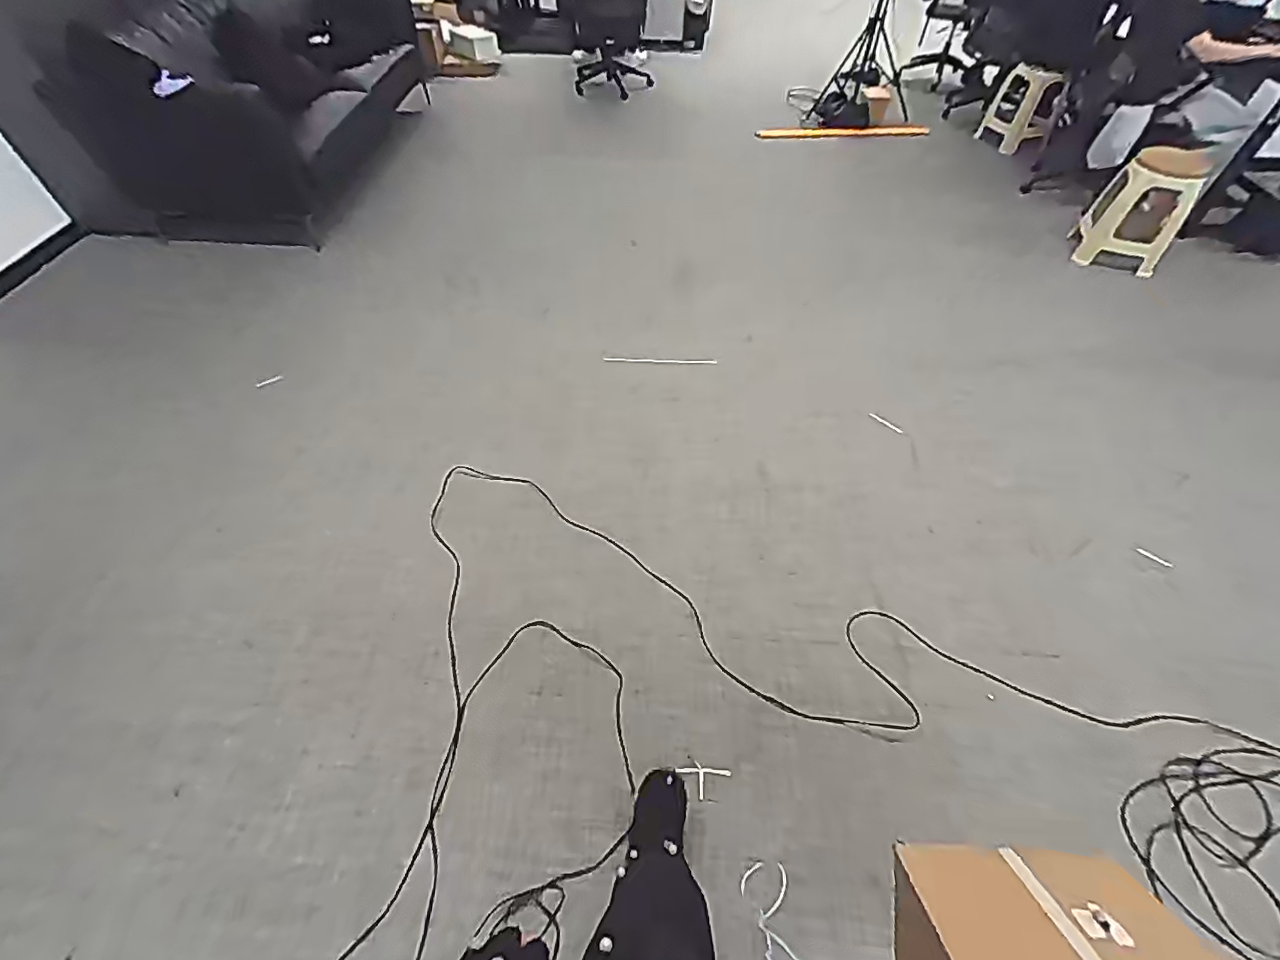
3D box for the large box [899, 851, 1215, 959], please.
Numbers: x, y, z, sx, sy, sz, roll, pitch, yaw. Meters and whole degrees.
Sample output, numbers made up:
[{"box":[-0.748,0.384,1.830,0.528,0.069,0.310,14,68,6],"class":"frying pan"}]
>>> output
[{"box":[0.531,0.722,0.618,0.320,0.408,0.320,0,91,7],"class":"large box"}]
